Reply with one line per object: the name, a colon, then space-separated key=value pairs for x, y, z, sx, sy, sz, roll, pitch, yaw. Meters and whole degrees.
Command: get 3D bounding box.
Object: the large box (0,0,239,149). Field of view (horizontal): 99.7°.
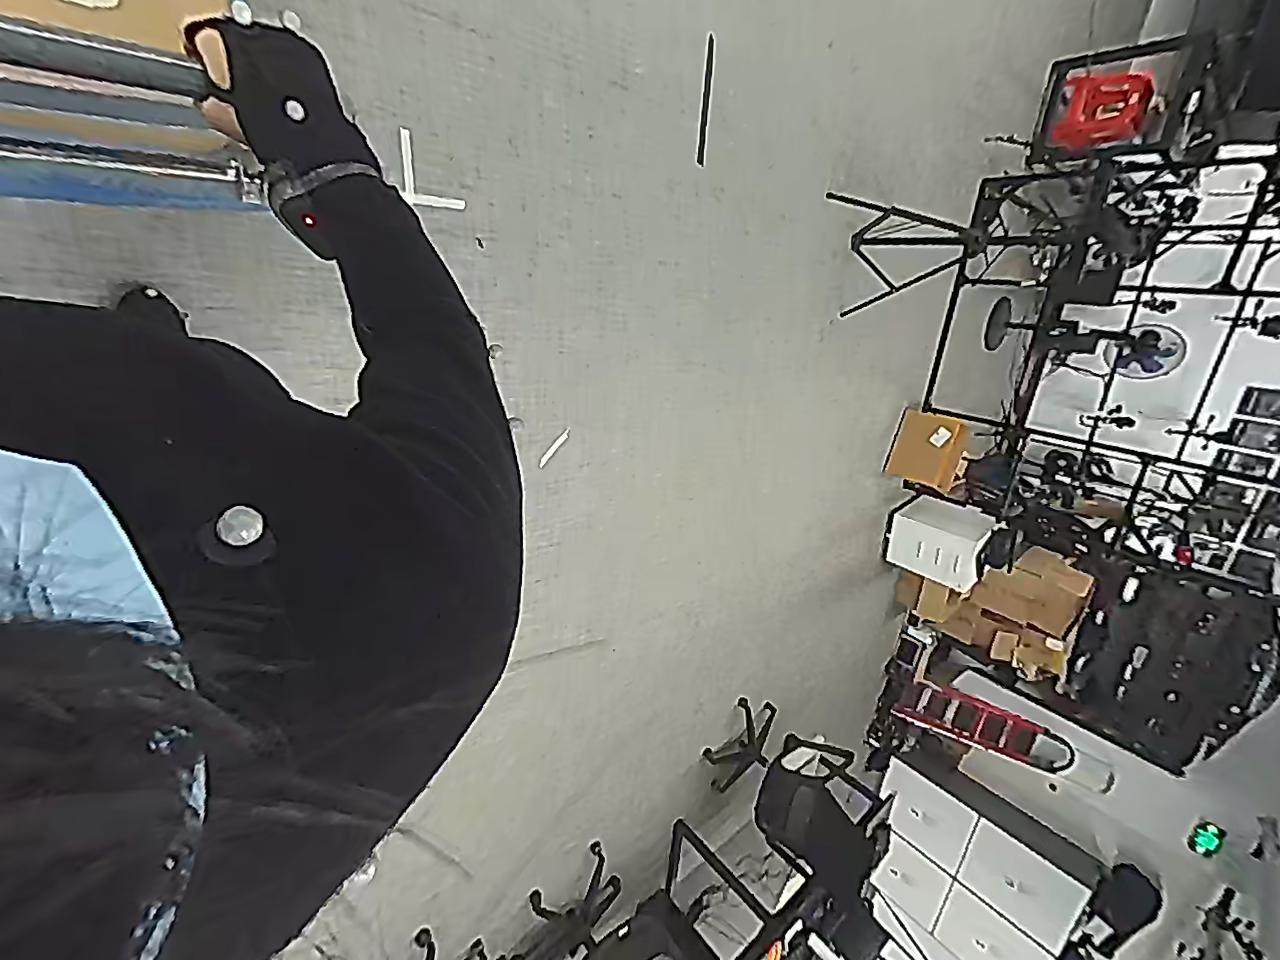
large box: x=-0.784 y=-0.625 z=0.653 sx=0.408 sy=0.320 sz=0.320 roll=-16 pitch=118 yaw=-40
